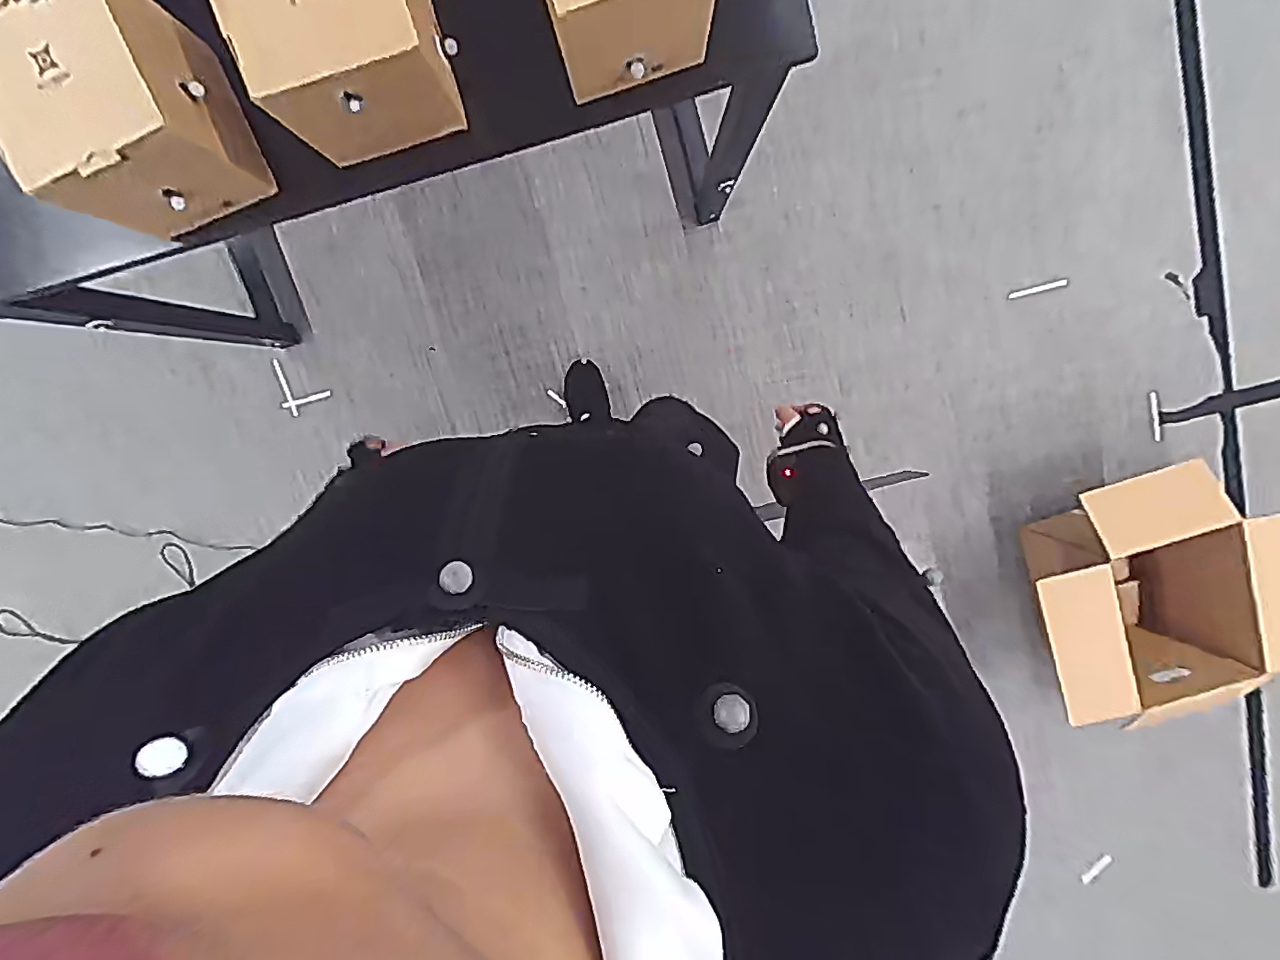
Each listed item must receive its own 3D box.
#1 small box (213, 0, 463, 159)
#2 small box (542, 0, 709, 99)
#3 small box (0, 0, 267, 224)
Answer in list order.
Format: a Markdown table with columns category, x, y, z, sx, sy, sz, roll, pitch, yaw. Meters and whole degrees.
| category | x | y | z | sx | sy | sz | roll | pitch | yaw |
| --- | --- | --- | --- | --- | --- | --- | --- | --- | --- |
| small box | -0.319 | -0.483 | 0.585 | 0.179 | 0.176 | 0.168 | -17 | 100 | 1 |
| small box | -0.030 | -0.557 | 0.572 | 0.168 | 0.176 | 0.179 | -17 | 99 | 3 |
| small box | -0.564 | -0.405 | 0.594 | 0.168 | 0.176 | 0.179 | -21 | 99 | 3 |
